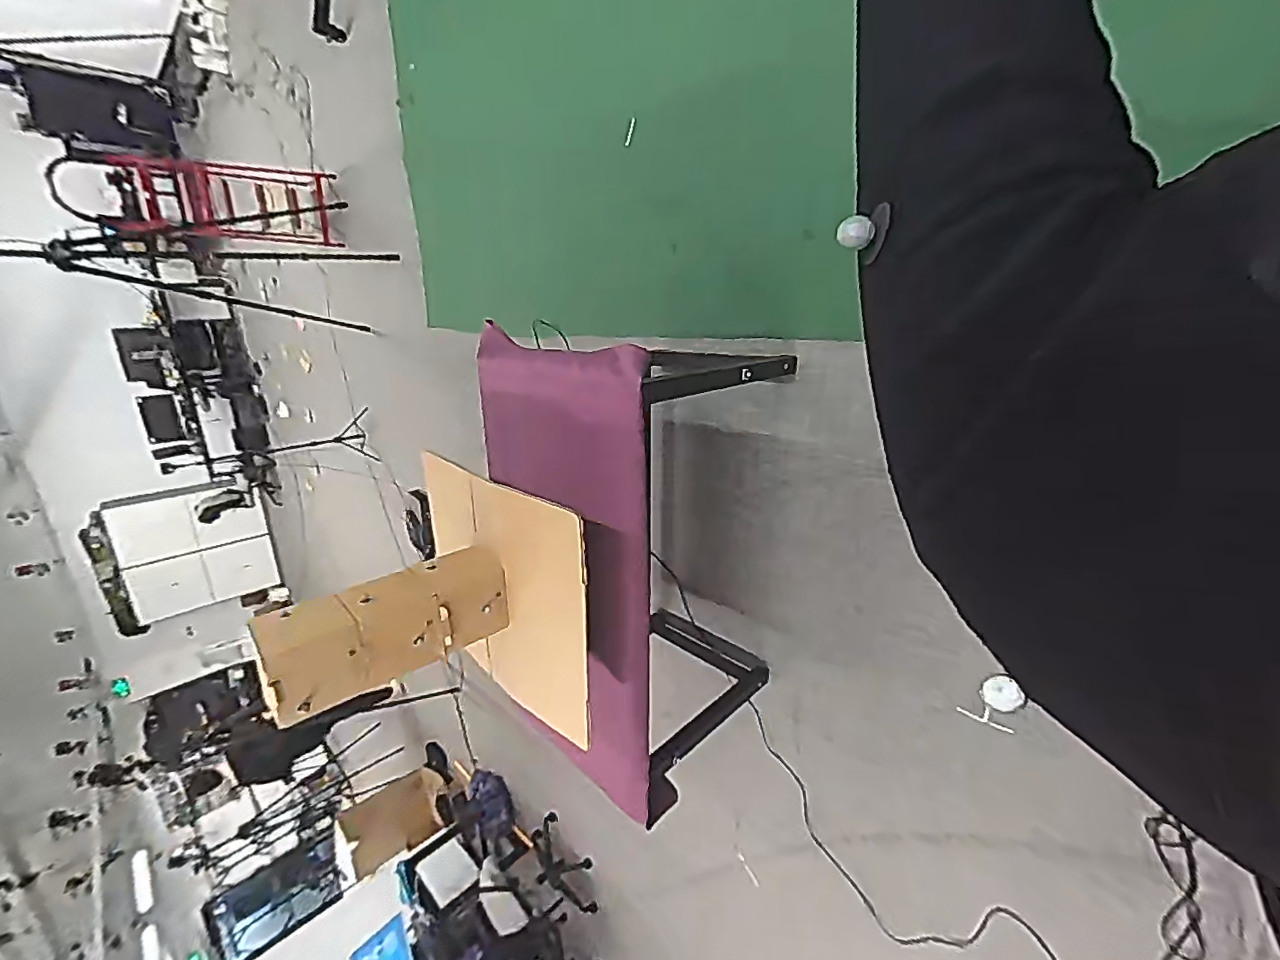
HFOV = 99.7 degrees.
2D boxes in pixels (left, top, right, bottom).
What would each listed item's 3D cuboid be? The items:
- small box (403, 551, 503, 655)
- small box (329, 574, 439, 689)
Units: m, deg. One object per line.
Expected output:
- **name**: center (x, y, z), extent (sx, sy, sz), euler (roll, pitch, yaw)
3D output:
- **small box**: center (-0.455, 0.290, 1.323), extent (0.179, 0.176, 0.168), euler (19, 117, 42)
- **small box**: center (-0.572, 0.328, 1.216), extent (0.179, 0.176, 0.168), euler (17, 115, 43)
